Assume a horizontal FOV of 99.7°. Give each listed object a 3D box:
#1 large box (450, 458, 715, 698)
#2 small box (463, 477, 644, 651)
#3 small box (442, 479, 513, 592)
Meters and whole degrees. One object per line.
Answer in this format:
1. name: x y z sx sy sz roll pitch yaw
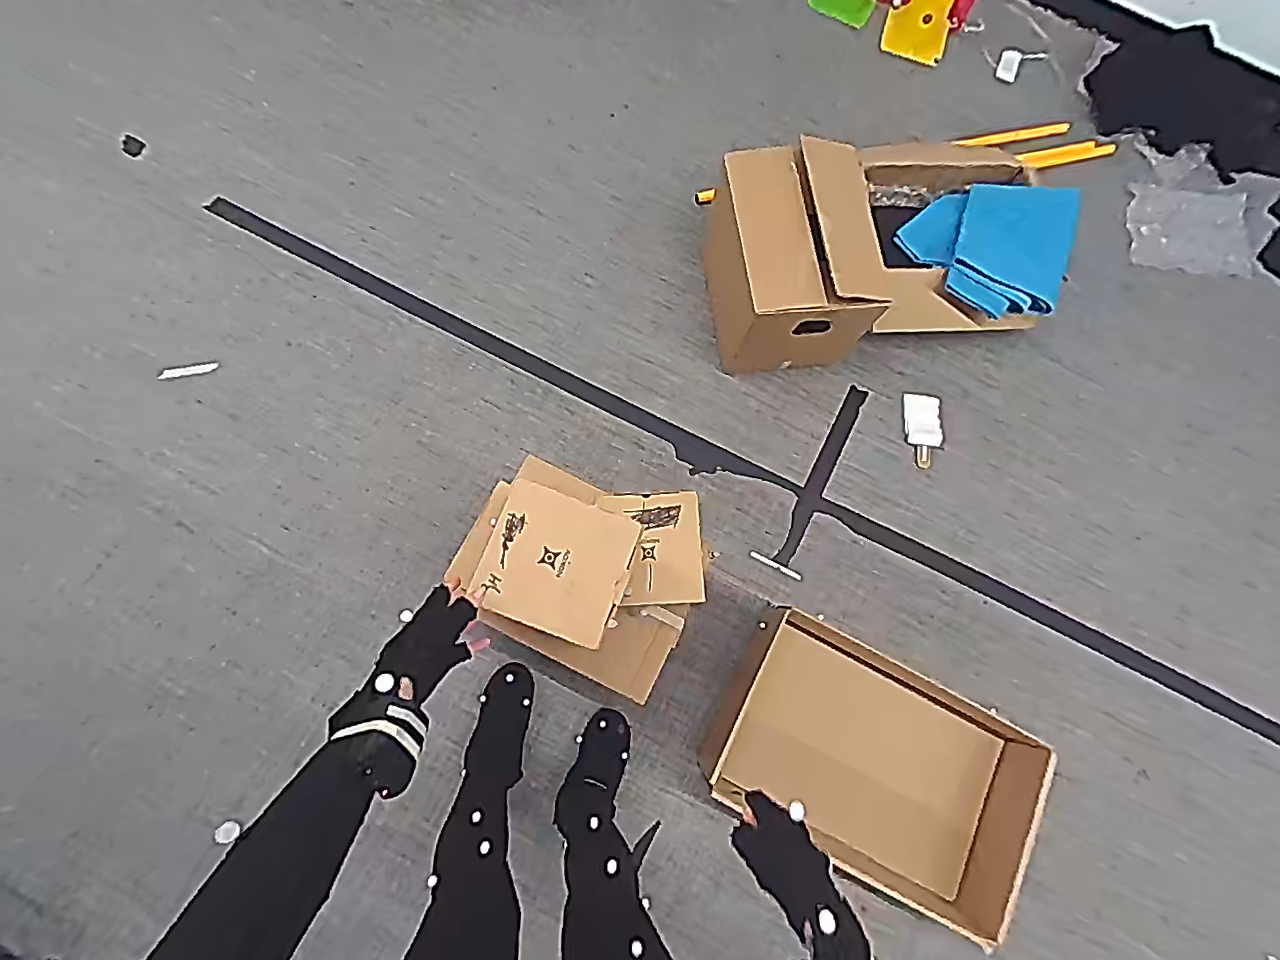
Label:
1. large box: -0.112 0.203 1.134 0.408 0.320 0.320 26 78 2
2. small box: -0.107 0.116 0.737 0.179 0.176 0.168 21 77 2
3. small box: -0.193 0.126 0.898 0.168 0.176 0.179 26 76 0
